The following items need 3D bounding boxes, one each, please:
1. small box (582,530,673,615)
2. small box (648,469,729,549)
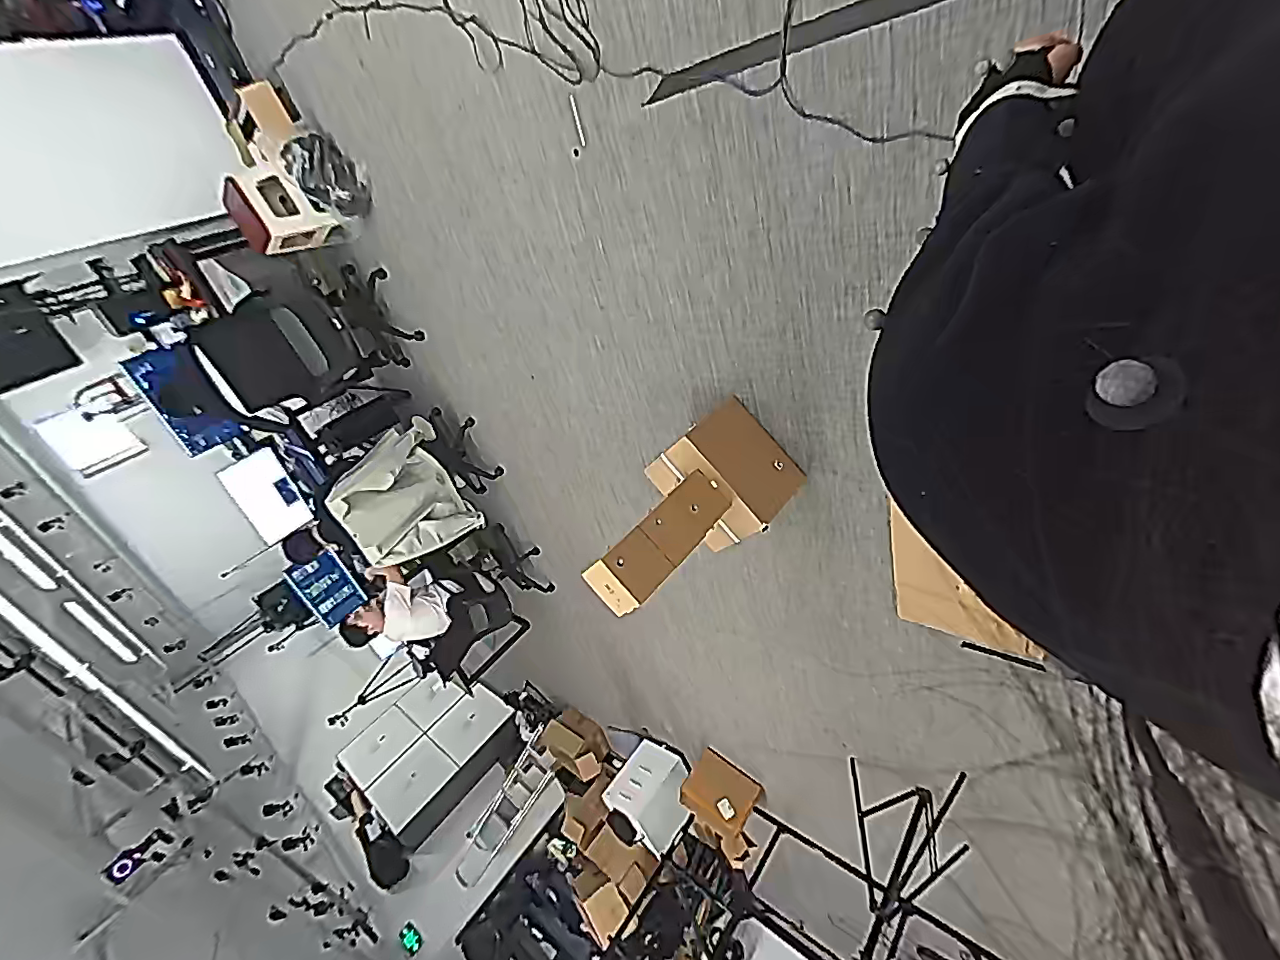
[{"bbox_3d":[-0.036,0.270,1.619,0.179,0.176,0.168,48,145,2],"label":"small box"},{"bbox_3d":[0.166,0.095,1.811,0.179,0.176,0.168,48,144,3],"label":"small box"}]
